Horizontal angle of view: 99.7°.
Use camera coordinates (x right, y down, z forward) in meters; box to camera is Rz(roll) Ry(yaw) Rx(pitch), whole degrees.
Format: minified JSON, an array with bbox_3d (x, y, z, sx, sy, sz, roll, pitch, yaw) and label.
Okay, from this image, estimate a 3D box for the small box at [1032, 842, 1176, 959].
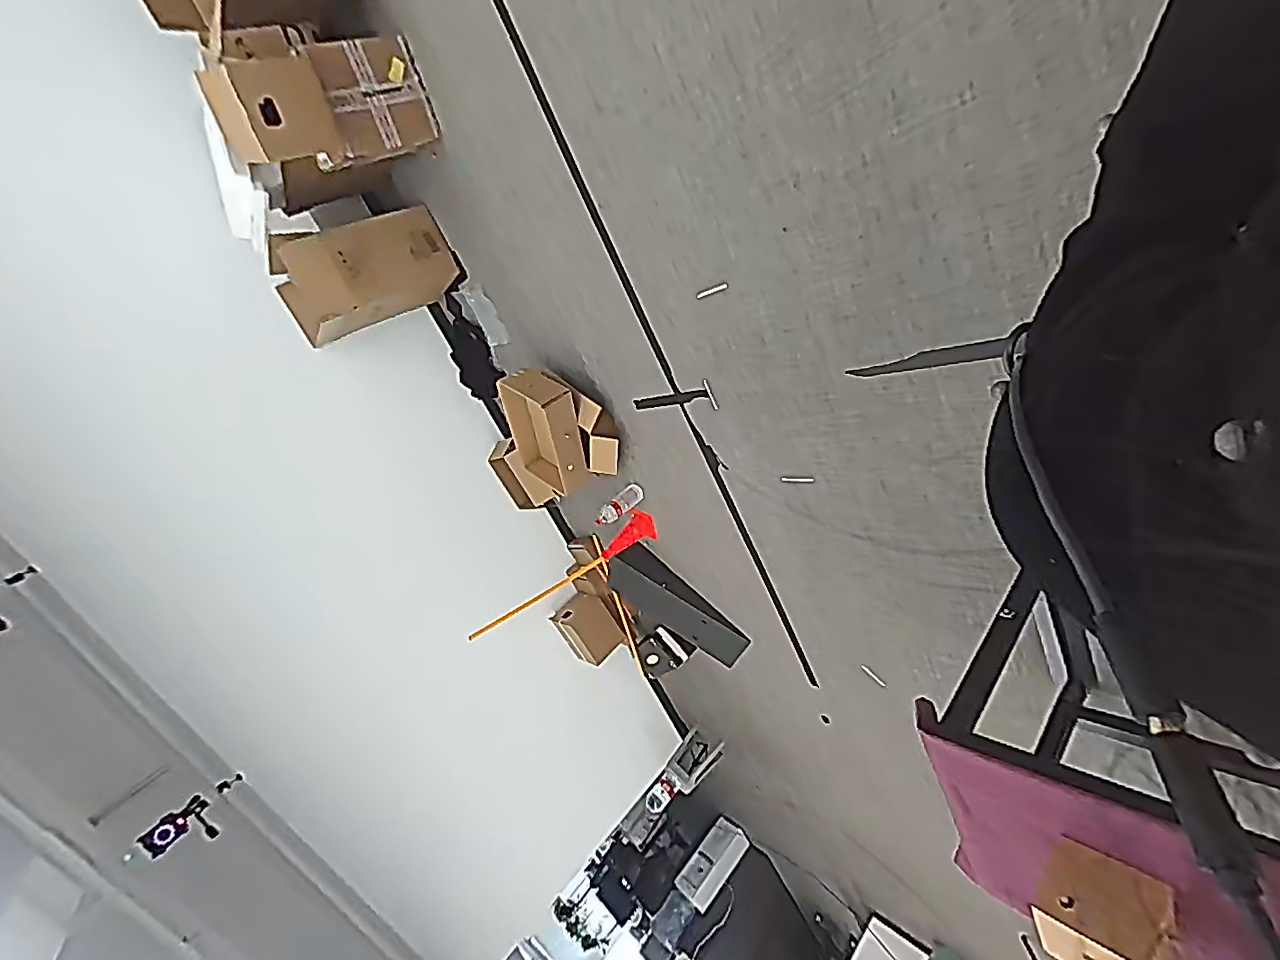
[{"bbox_3d":[0.901,0.852,1.050,0.179,0.176,0.168,3,126,53],"label":"small box"}]
